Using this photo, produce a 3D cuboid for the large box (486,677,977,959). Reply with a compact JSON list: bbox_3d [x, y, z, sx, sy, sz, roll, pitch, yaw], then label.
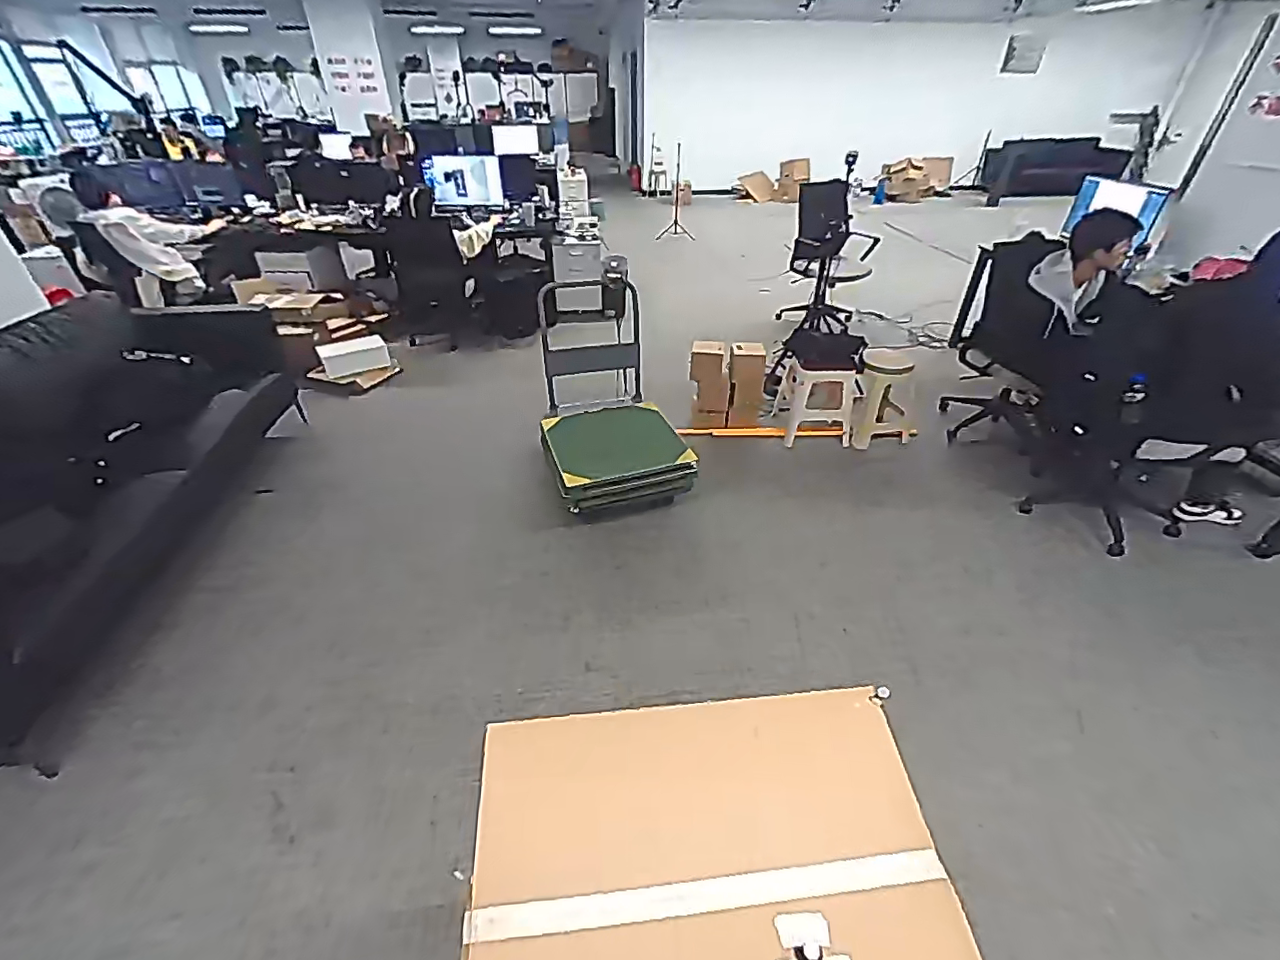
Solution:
[{"bbox_3d":[0.064,0.443,0.584,0.408,0.320,0.320,-4,50,-5],"label":"large box"}]
